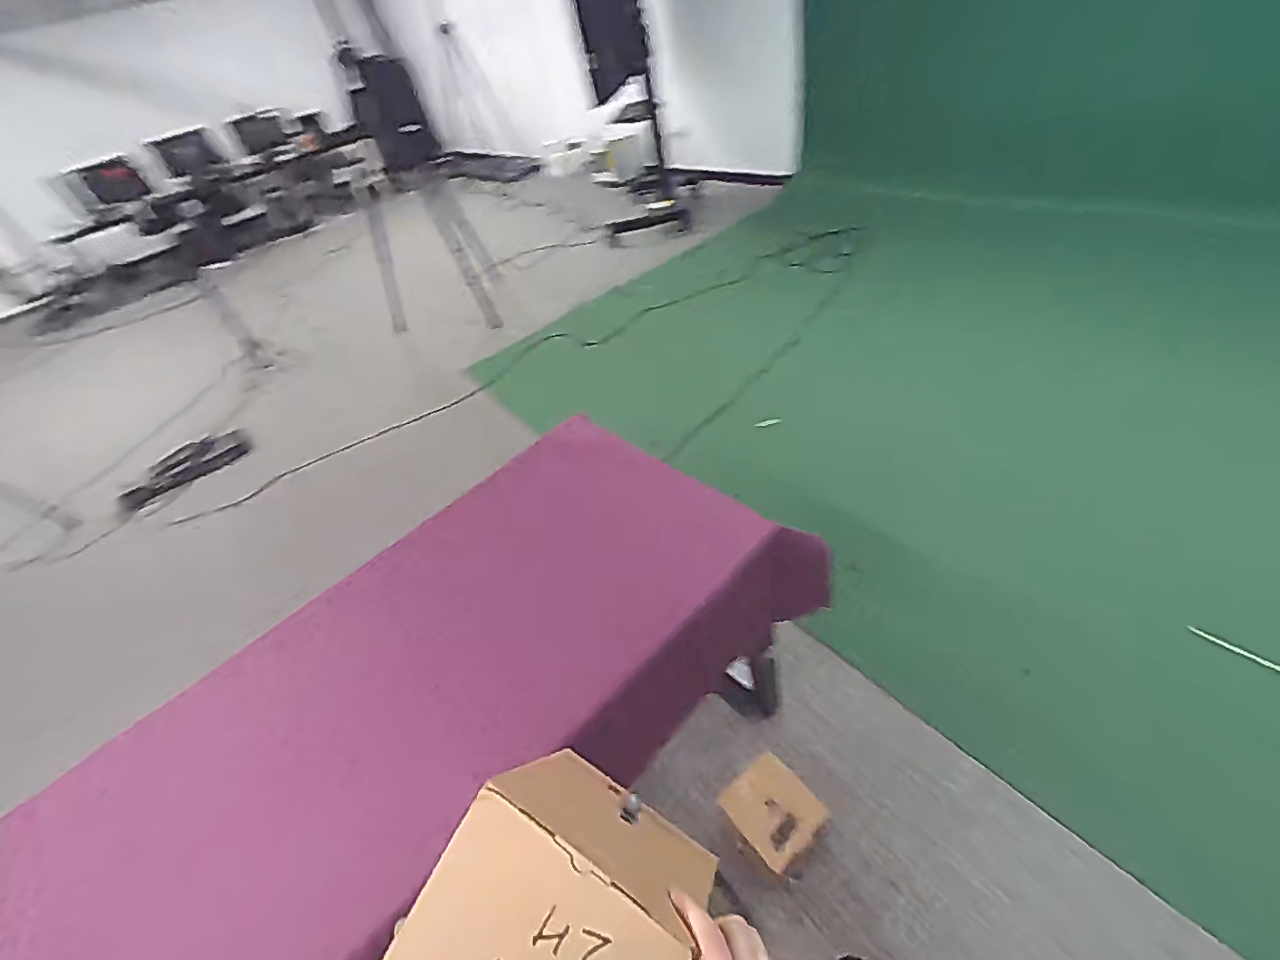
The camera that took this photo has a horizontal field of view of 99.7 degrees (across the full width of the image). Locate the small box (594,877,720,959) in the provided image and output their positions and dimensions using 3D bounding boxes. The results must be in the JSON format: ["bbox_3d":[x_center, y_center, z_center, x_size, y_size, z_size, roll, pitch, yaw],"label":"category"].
[{"bbox_3d":[0.042,0.947,1.072,0.179,0.176,0.168,-38,47,-23],"label":"small box"}]
